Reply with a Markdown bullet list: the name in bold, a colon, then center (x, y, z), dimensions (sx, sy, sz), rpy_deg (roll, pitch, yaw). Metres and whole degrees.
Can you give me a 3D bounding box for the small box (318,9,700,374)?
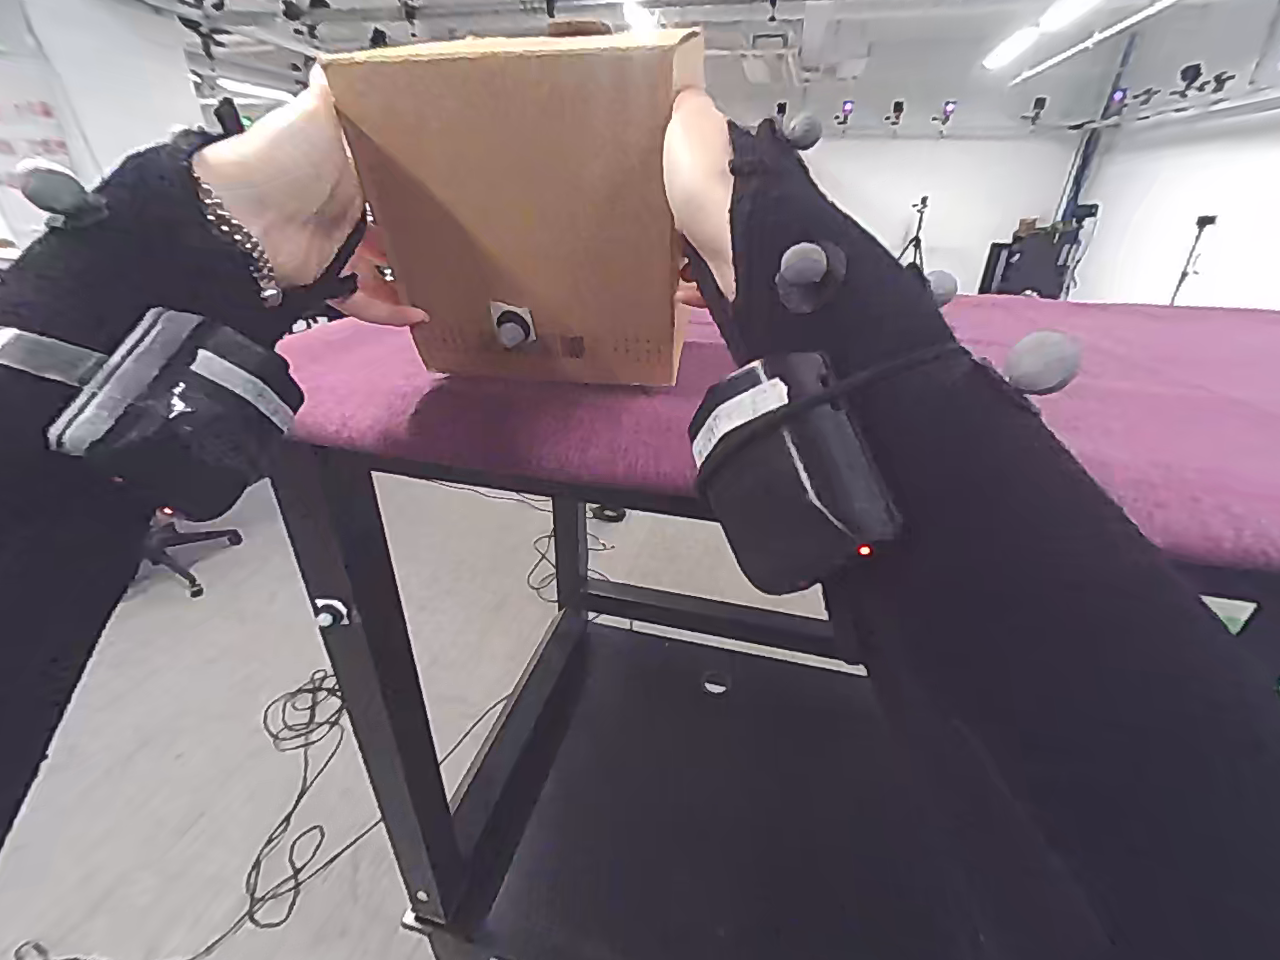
- **small box**: center (-0.052, -0.187, 0.347), dimensions (0.168, 0.176, 0.179), rpy_deg (4, 42, 8)
